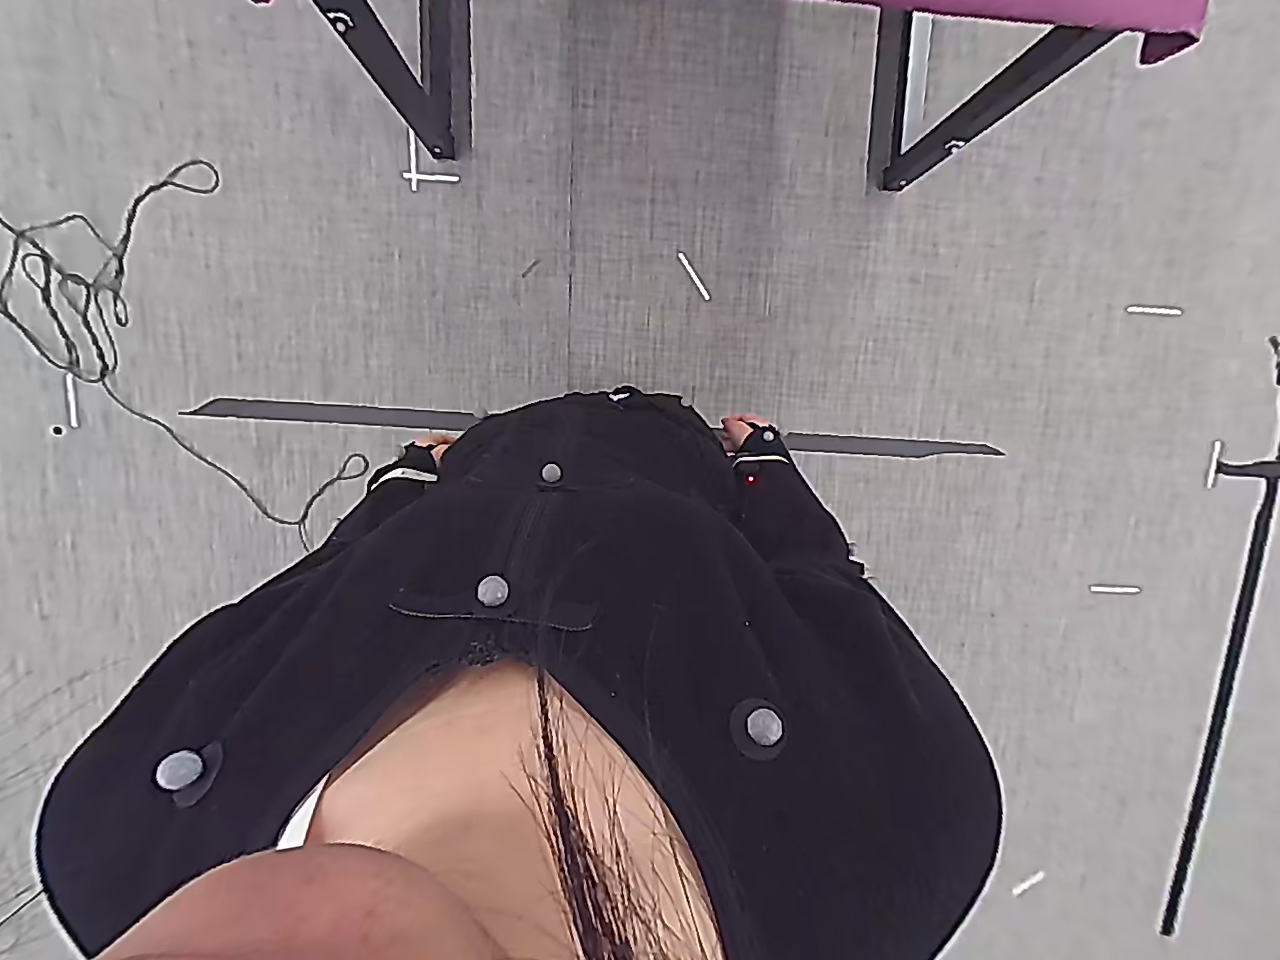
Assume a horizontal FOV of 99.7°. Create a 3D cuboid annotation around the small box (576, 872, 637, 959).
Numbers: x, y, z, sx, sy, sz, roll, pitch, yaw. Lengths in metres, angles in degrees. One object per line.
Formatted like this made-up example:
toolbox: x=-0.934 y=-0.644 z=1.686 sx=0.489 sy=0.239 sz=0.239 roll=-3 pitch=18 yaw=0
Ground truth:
small box: x=-0.100 y=1.314 z=1.612 sx=0.168 sy=0.176 sz=0.179 roll=5 pitch=100 yaw=-2
